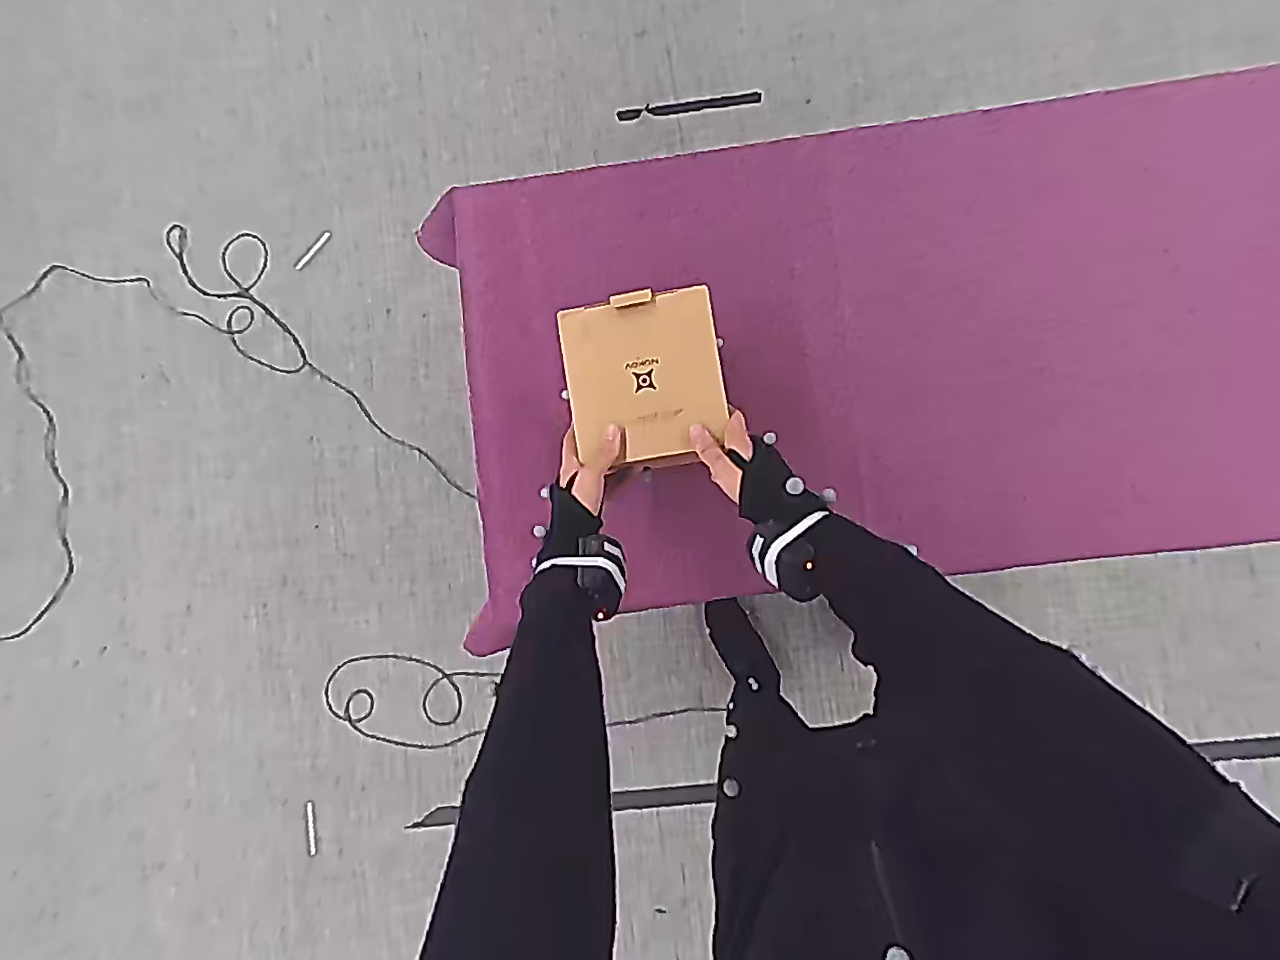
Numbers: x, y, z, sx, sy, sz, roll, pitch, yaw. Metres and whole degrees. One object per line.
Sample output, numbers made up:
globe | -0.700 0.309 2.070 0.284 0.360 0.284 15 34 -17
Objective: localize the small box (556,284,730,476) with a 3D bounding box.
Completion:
small box | 0.006 -0.105 0.642 0.168 0.176 0.179 -9 87 4
